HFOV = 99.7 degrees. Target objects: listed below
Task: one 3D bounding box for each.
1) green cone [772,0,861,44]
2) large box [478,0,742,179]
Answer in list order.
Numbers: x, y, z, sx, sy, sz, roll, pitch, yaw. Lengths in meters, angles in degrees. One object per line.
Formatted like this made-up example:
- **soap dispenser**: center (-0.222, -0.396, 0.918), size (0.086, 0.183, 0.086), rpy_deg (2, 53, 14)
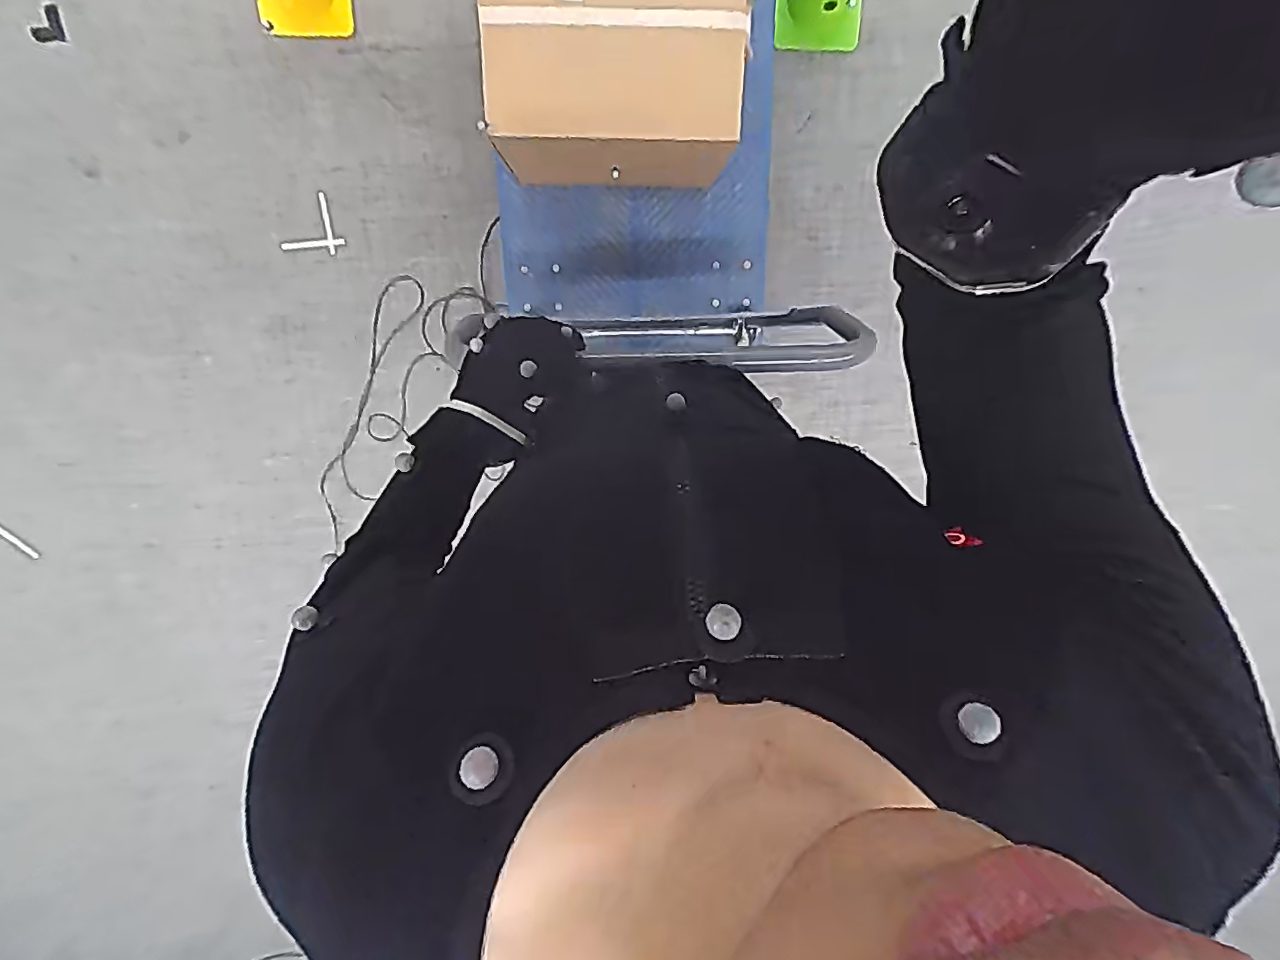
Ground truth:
- **green cone**: center (0.408, -1.046, 1.040), size (0.202, 0.368, 0.200), rpy_deg (0, 106, -4)
- **large box**: center (-0.046, -0.738, 0.959), size (0.408, 0.320, 0.320), rpy_deg (0, 106, -2)
